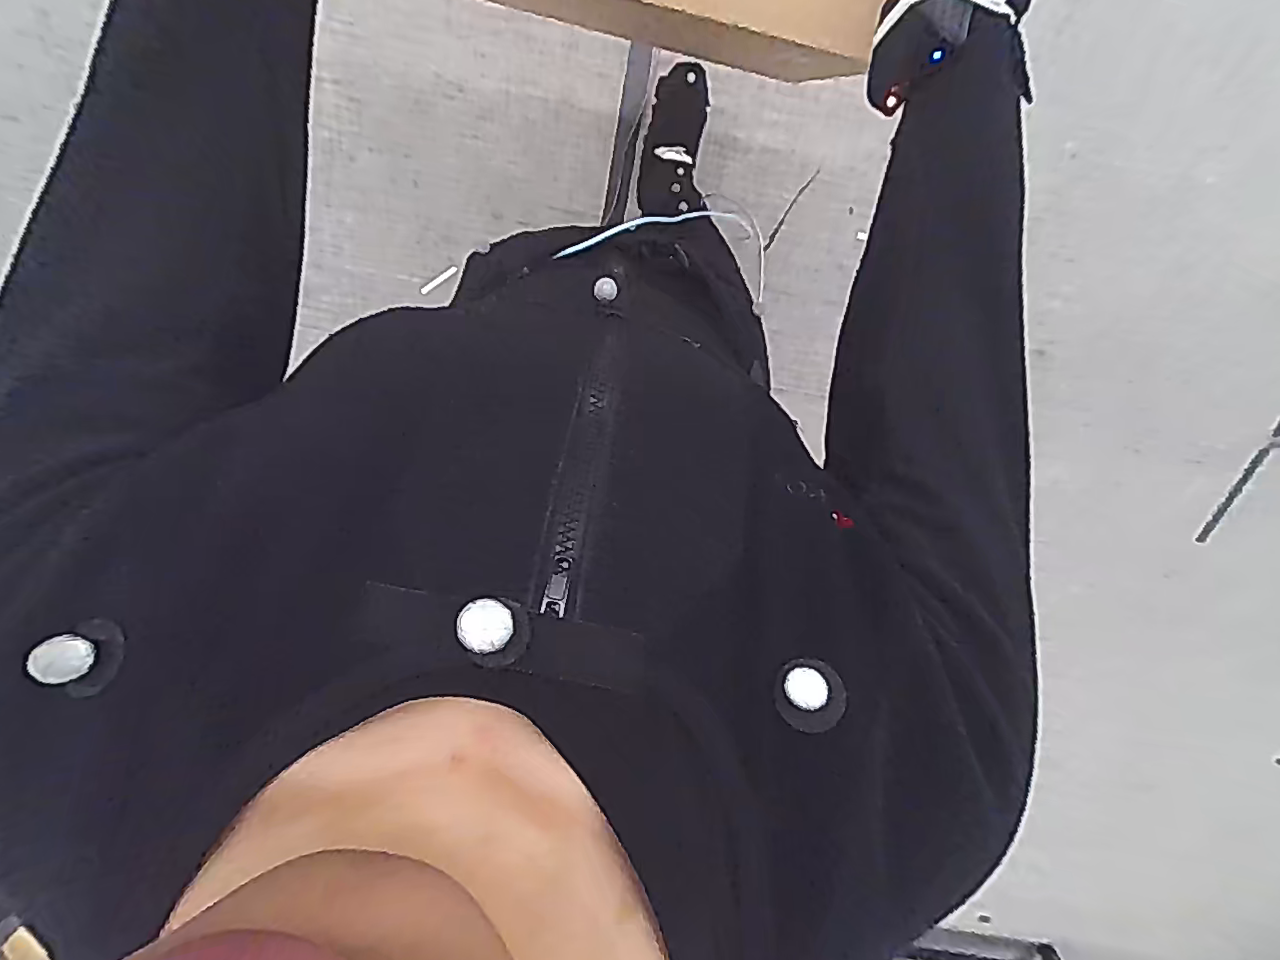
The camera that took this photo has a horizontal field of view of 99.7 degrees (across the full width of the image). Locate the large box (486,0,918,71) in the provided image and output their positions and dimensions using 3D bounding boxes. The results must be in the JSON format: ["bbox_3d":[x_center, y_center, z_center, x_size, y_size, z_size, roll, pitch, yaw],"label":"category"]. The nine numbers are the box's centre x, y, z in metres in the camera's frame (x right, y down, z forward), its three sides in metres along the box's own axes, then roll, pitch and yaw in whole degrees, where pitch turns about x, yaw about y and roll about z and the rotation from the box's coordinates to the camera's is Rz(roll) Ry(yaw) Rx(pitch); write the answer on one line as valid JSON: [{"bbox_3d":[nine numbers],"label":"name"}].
[{"bbox_3d":[0.030,-0.567,0.438,0.408,0.320,0.320,8,126,-8],"label":"large box"}]
